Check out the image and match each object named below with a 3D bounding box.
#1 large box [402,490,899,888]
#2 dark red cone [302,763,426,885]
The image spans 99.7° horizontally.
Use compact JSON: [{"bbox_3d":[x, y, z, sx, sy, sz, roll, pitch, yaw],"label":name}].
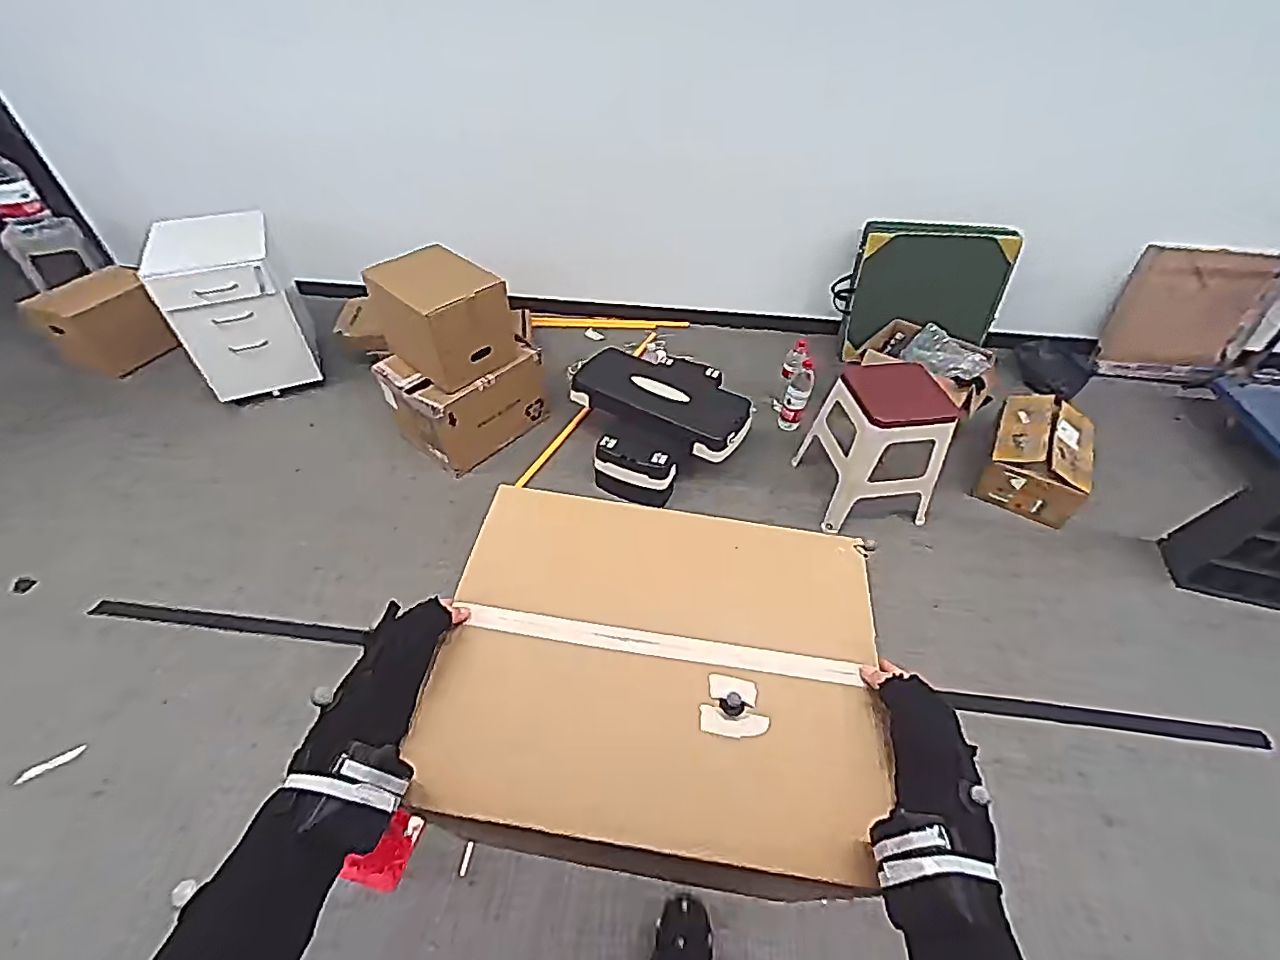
[{"bbox_3d":[0.013,0.247,0.628,0.408,0.320,0.320,9,51,2],"label":"large box"},{"bbox_3d":[-0.603,0.670,1.115,0.201,0.394,0.202,11,47,7],"label":"dark red cone"}]
